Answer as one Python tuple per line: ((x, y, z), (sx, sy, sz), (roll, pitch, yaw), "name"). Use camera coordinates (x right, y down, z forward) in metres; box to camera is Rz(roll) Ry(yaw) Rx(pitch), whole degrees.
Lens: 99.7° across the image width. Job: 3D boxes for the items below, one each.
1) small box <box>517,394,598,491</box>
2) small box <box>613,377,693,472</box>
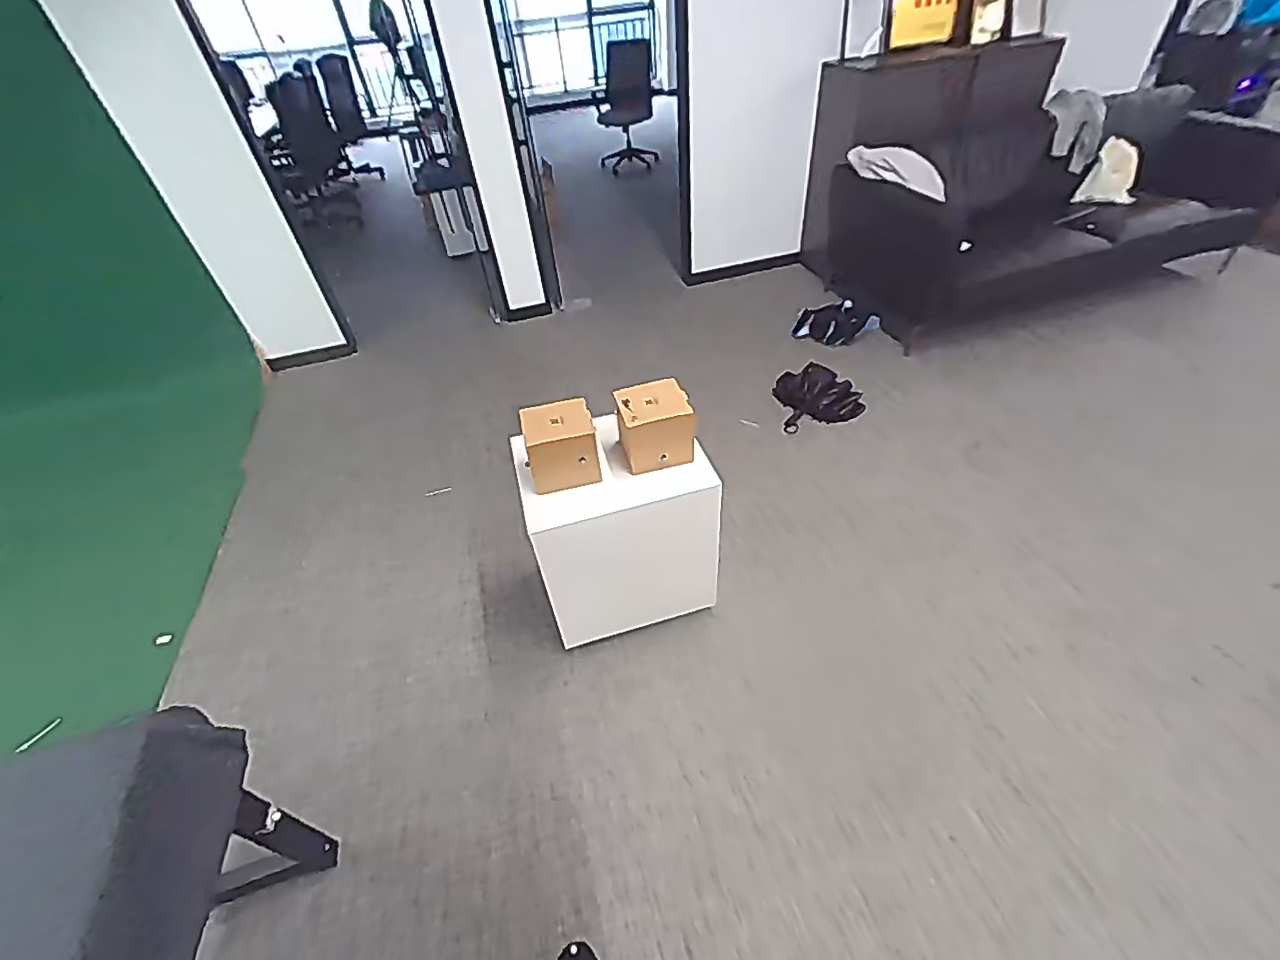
((-0.210, -0.096, 1.404), (0.179, 0.176, 0.168), (-13, 43, -9), "small box")
((0.032, -0.146, 1.437), (0.179, 0.176, 0.168), (-12, 44, -9), "small box")
